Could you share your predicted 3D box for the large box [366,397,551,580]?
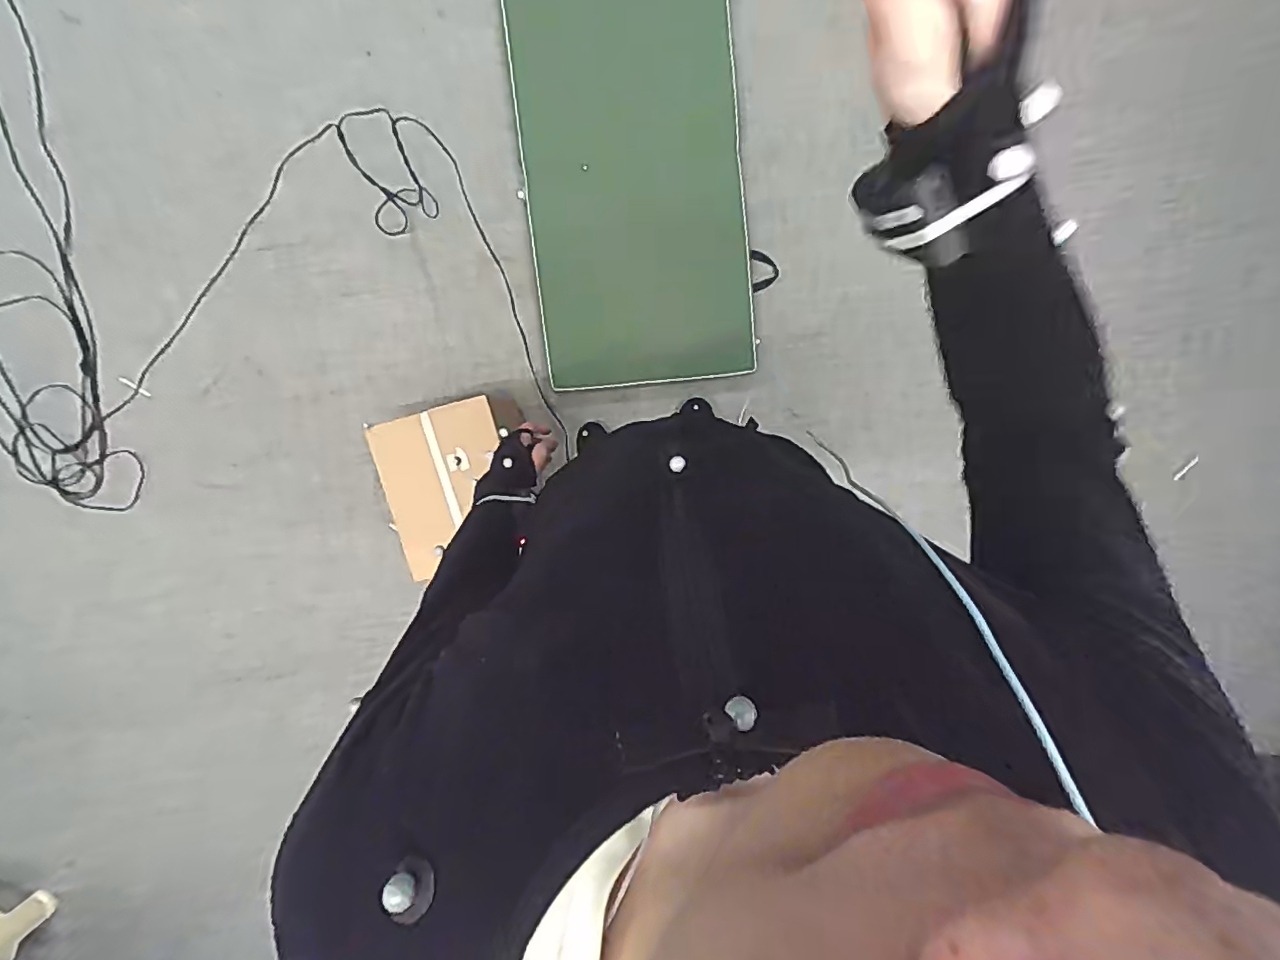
[{"bbox_3d":[-0.469,0.010,1.485,0.320,0.320,0.408,-15,96,1],"label":"large box"}]
